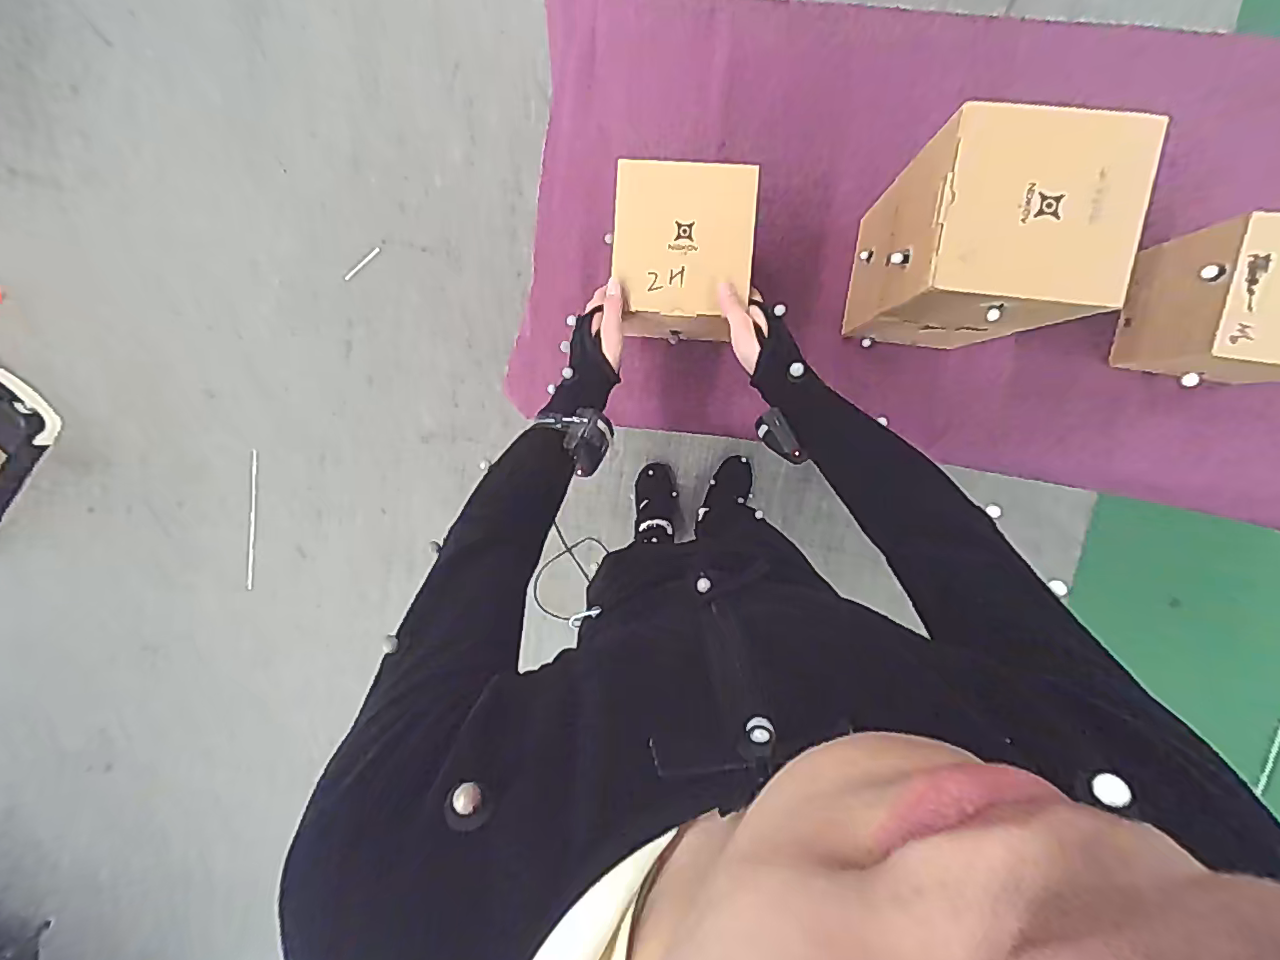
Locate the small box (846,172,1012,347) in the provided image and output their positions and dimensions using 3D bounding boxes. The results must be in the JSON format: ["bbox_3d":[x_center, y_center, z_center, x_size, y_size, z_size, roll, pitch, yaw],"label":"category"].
[{"bbox_3d":[0.392,-0.282,0.729,0.168,0.176,0.179,8,98,4],"label":"small box"}]

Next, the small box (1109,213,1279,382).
[{"bbox_3d":[0.777,-0.221,0.699,0.179,0.176,0.168,9,97,4],"label":"small box"}]

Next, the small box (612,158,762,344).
[{"bbox_3d":[0.055,-0.284,0.705,0.168,0.176,0.179,4,96,2],"label":"small box"}]

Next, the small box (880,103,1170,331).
[{"bbox_3d":[0.376,-0.257,0.568,0.179,0.176,0.168,8,99,4],"label":"small box"}]
